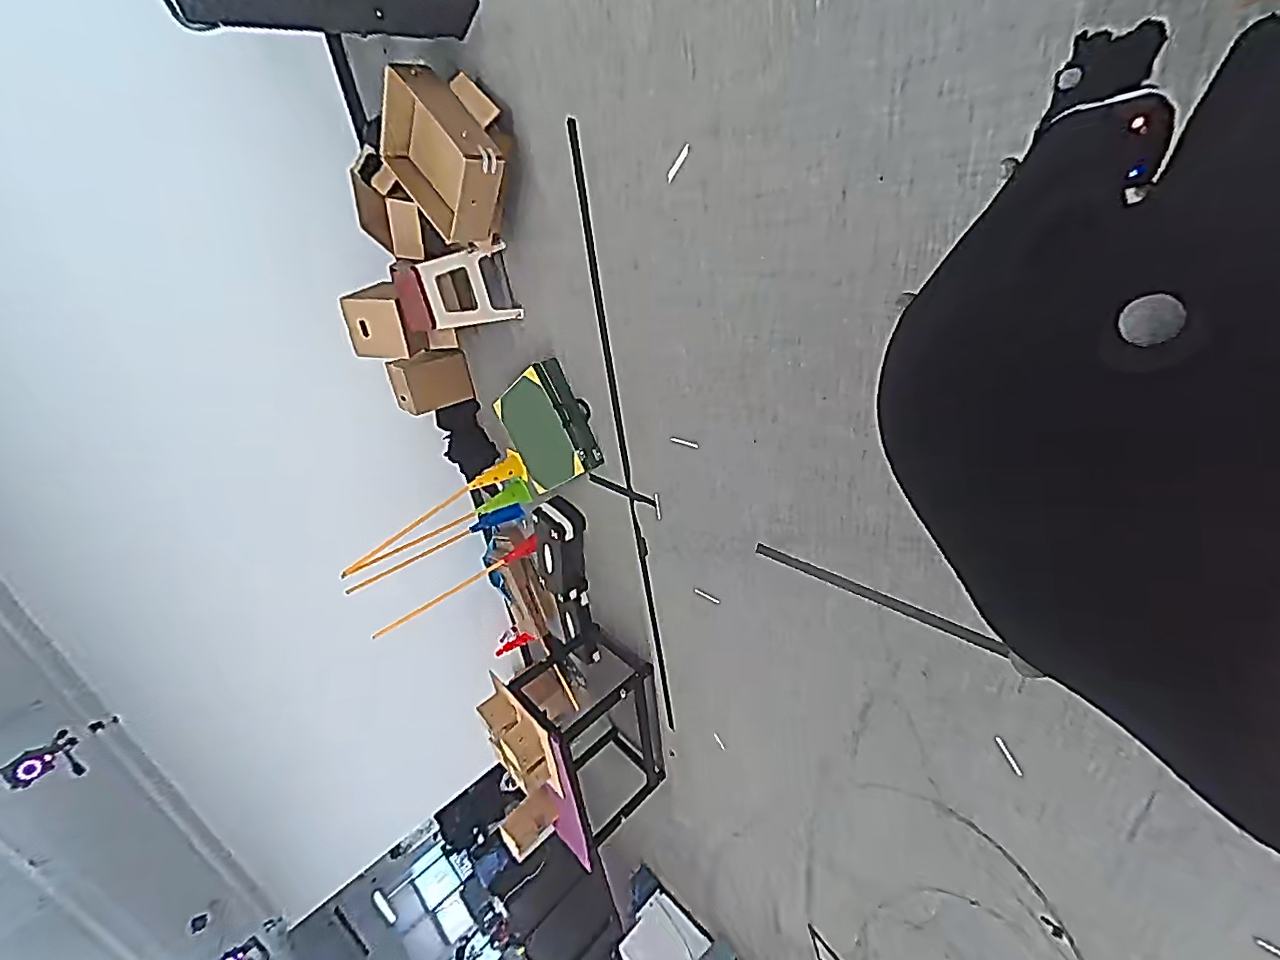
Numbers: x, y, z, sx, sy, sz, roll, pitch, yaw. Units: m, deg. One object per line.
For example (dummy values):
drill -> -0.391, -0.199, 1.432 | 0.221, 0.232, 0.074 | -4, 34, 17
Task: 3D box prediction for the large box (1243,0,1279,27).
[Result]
large box -> 1.004, -0.757, 0.587 | 0.408, 0.320, 0.320 | 21, 130, 42
